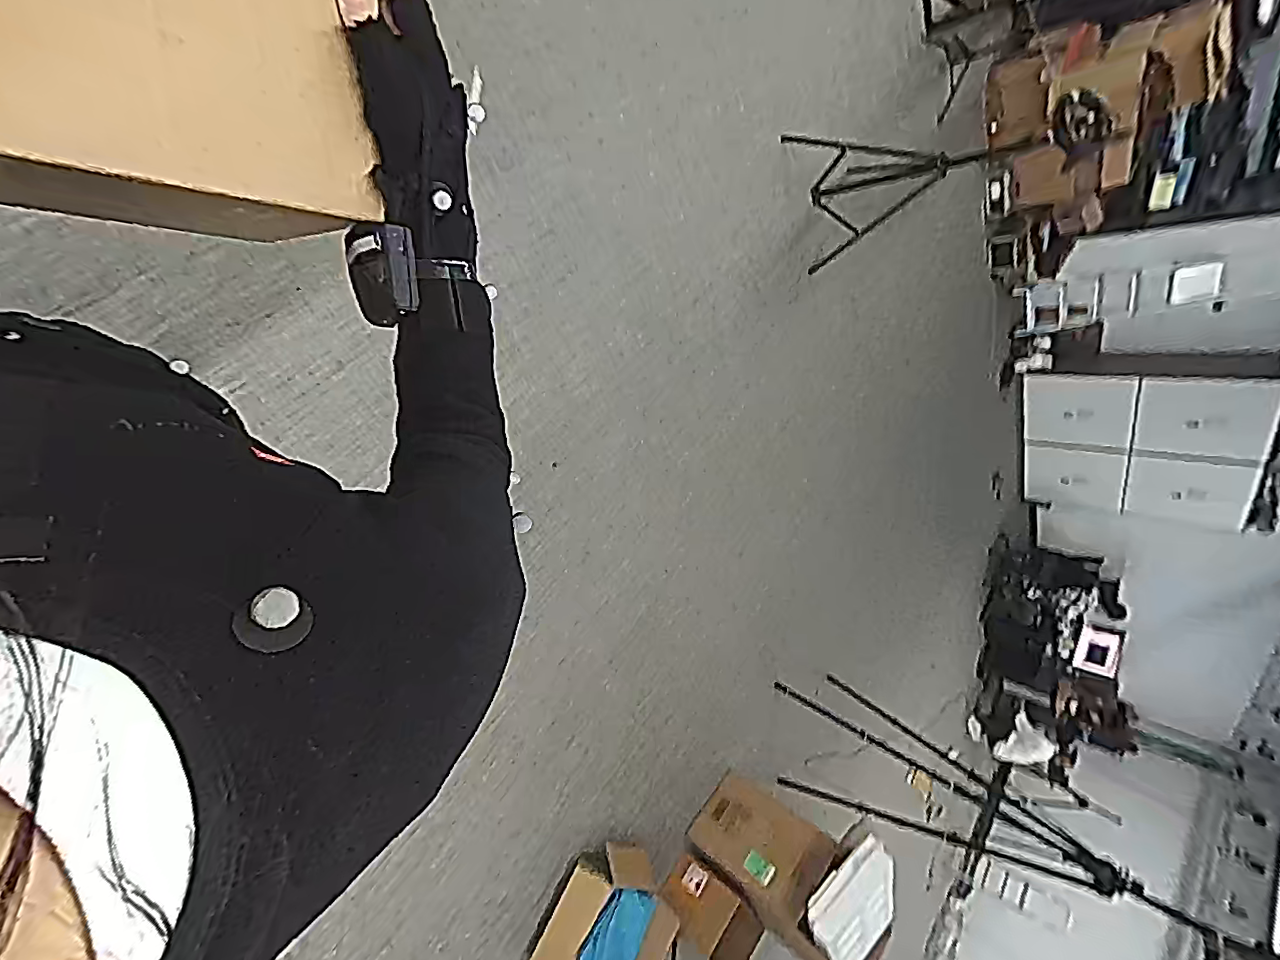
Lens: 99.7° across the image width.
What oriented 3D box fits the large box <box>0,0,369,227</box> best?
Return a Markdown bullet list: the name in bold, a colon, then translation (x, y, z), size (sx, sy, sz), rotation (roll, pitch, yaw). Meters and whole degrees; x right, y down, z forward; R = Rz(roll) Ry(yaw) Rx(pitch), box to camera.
- **large box**: translation (-0.434, -0.348, 0.309), size (0.408, 0.320, 0.320), rotation (-13, 115, -45)
